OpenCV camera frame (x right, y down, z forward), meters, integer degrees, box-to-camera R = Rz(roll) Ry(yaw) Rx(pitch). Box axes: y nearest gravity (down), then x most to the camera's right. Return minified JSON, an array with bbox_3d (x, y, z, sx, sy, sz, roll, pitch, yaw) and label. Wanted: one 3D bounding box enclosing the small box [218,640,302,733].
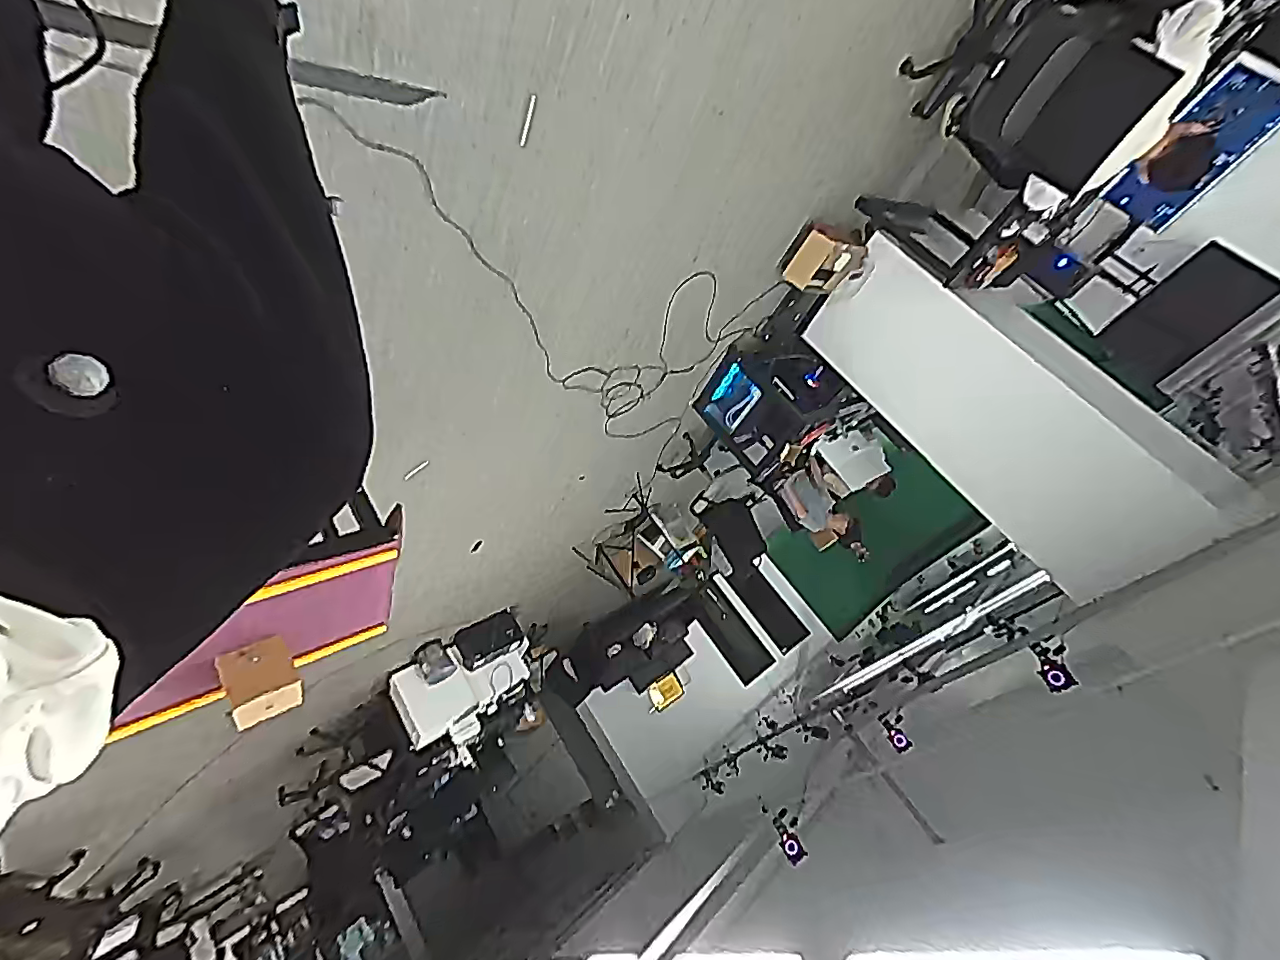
[{"bbox_3d":[-1.111,0.600,1.586,0.168,0.176,0.179,-19,150,-41],"label":"small box"}]
